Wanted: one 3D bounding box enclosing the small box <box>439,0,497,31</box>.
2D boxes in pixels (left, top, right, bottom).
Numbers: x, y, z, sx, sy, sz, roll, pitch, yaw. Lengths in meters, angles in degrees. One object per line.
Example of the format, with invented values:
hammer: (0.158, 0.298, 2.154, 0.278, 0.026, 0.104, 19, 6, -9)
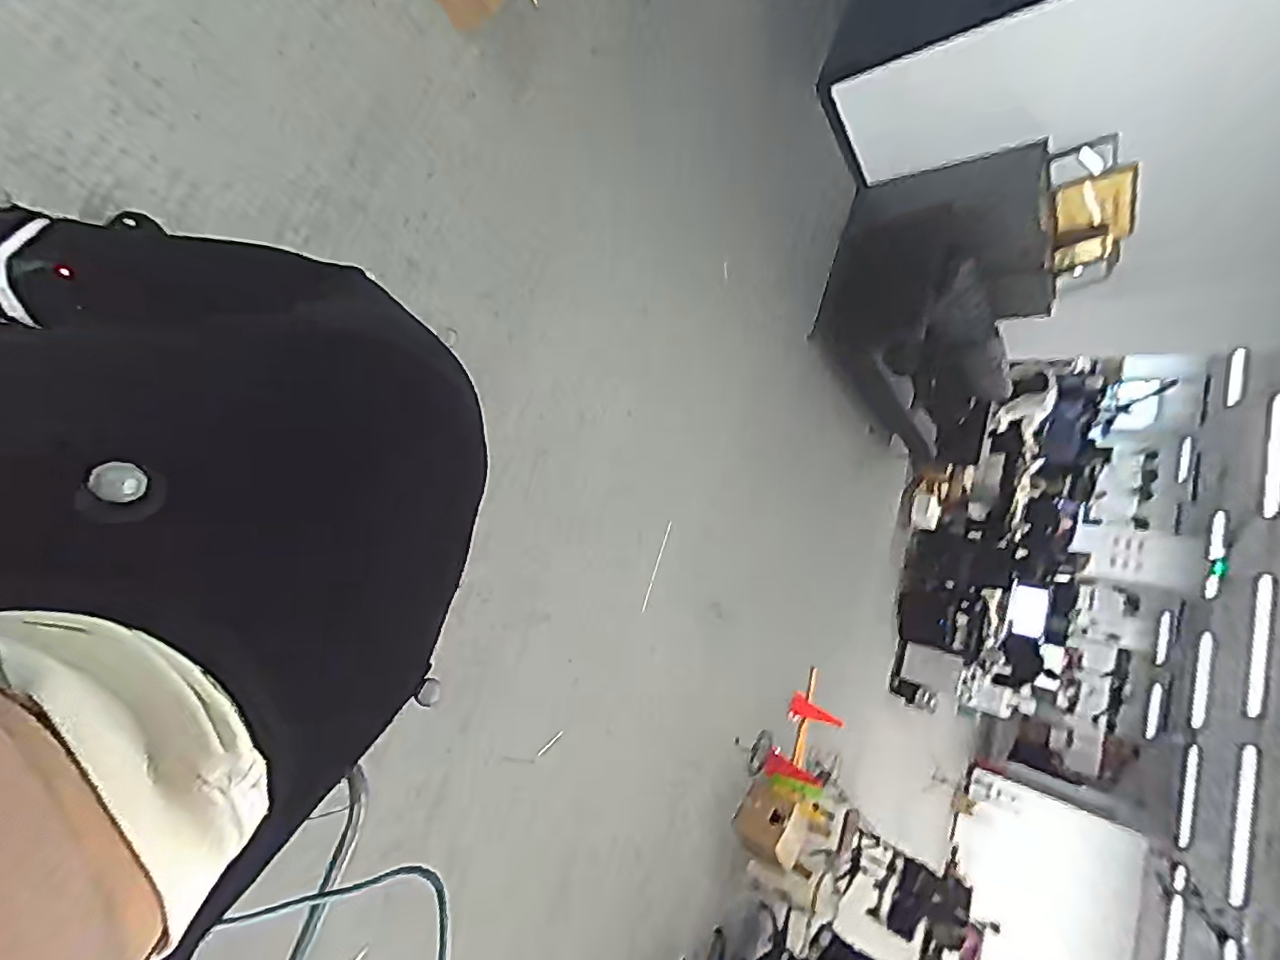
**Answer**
small box: (-0.509, -1.483, 1.582, 0.179, 0.176, 0.168, 38, 69, -44)
